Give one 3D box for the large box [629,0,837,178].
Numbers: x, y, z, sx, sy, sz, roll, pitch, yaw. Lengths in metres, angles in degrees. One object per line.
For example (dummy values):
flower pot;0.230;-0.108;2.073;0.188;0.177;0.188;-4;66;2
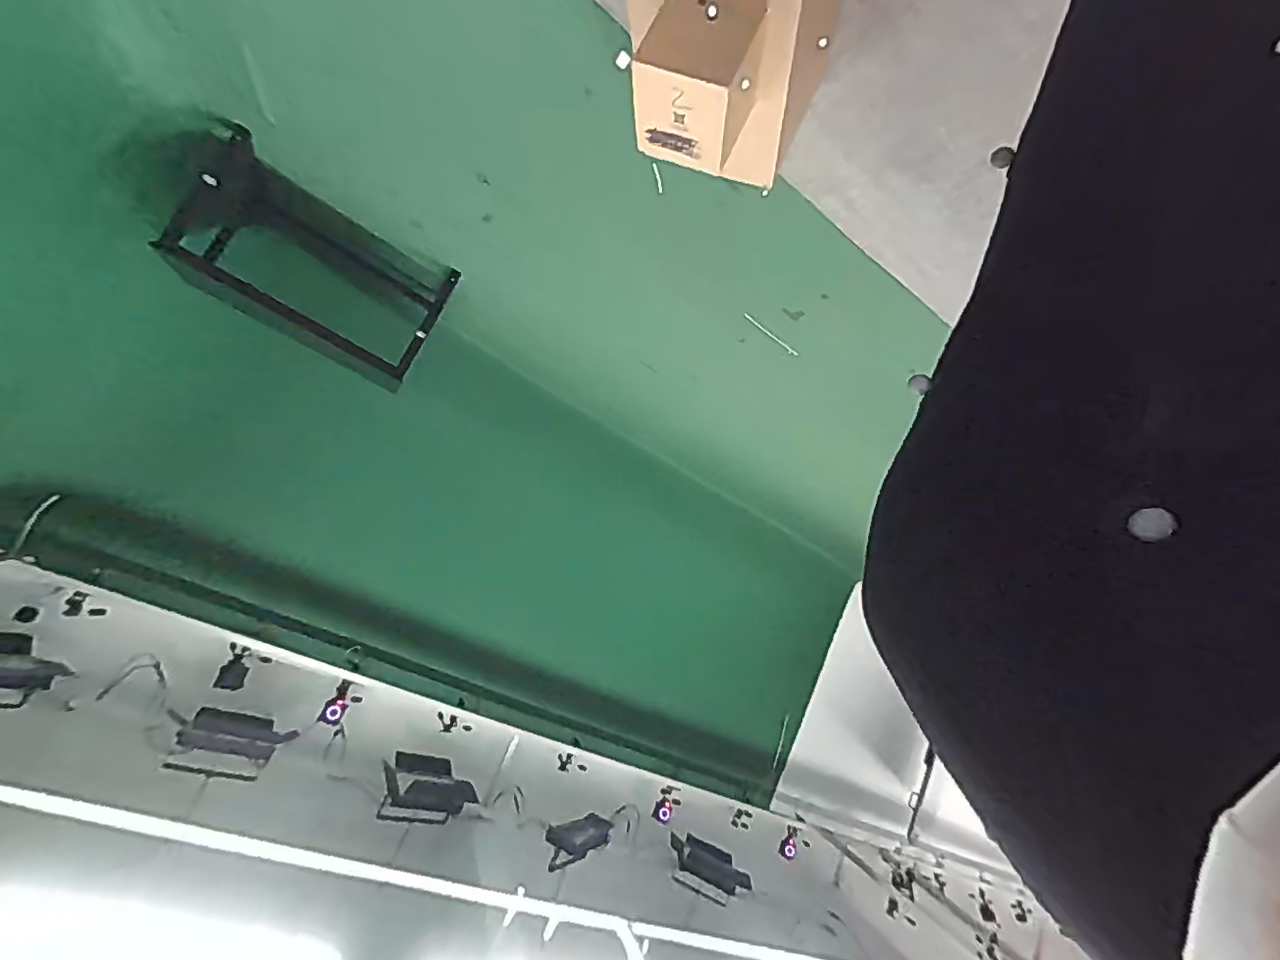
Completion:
large box;0.194;-0.896;1.049;0.320;0.320;0.408;24;171;12
